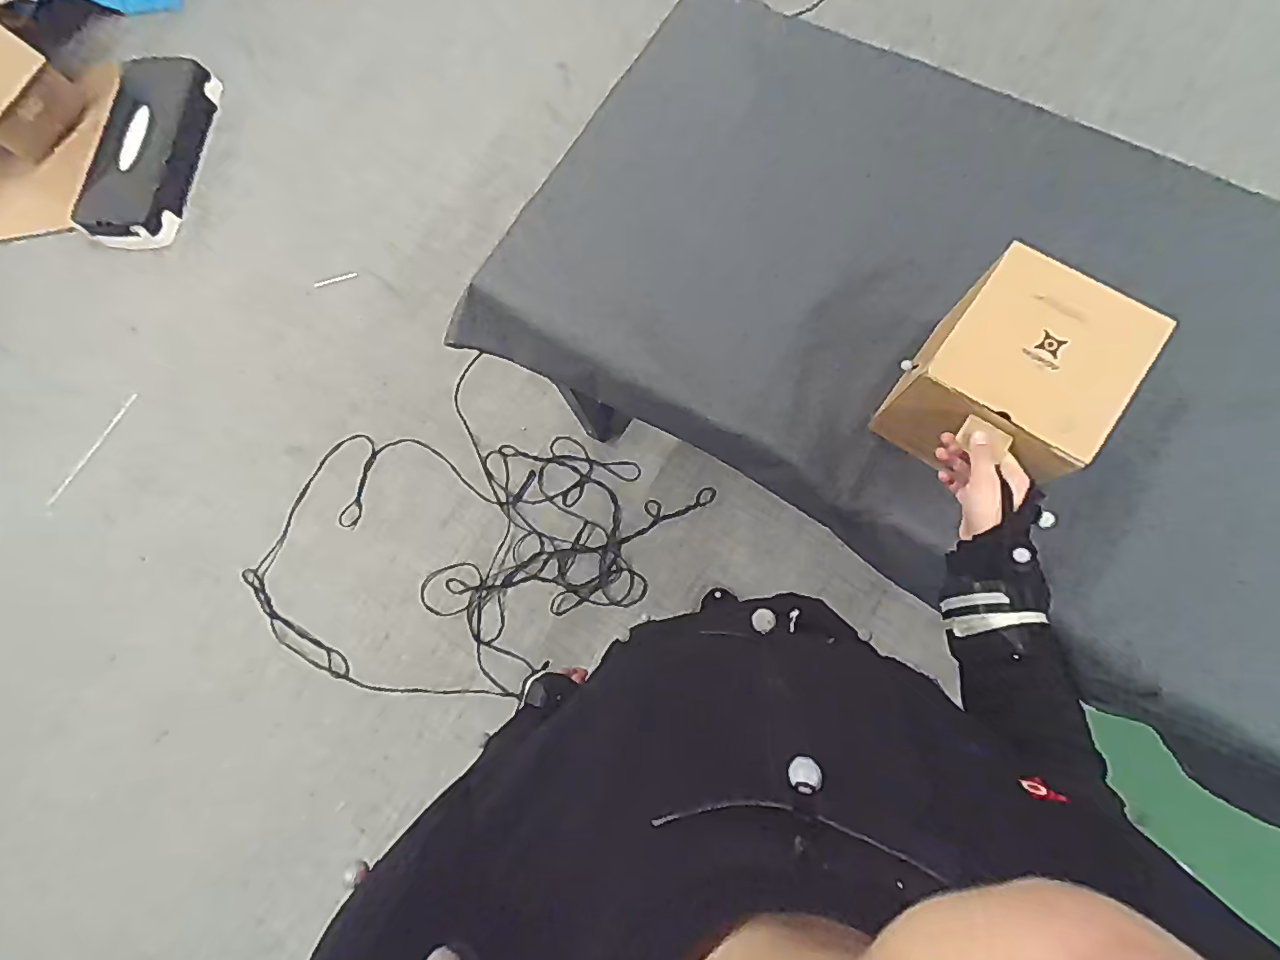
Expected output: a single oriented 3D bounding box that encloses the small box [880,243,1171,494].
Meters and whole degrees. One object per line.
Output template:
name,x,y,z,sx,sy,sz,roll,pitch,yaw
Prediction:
small box,0.390,-0.106,0.589,0.168,0.176,0.179,35,82,11
